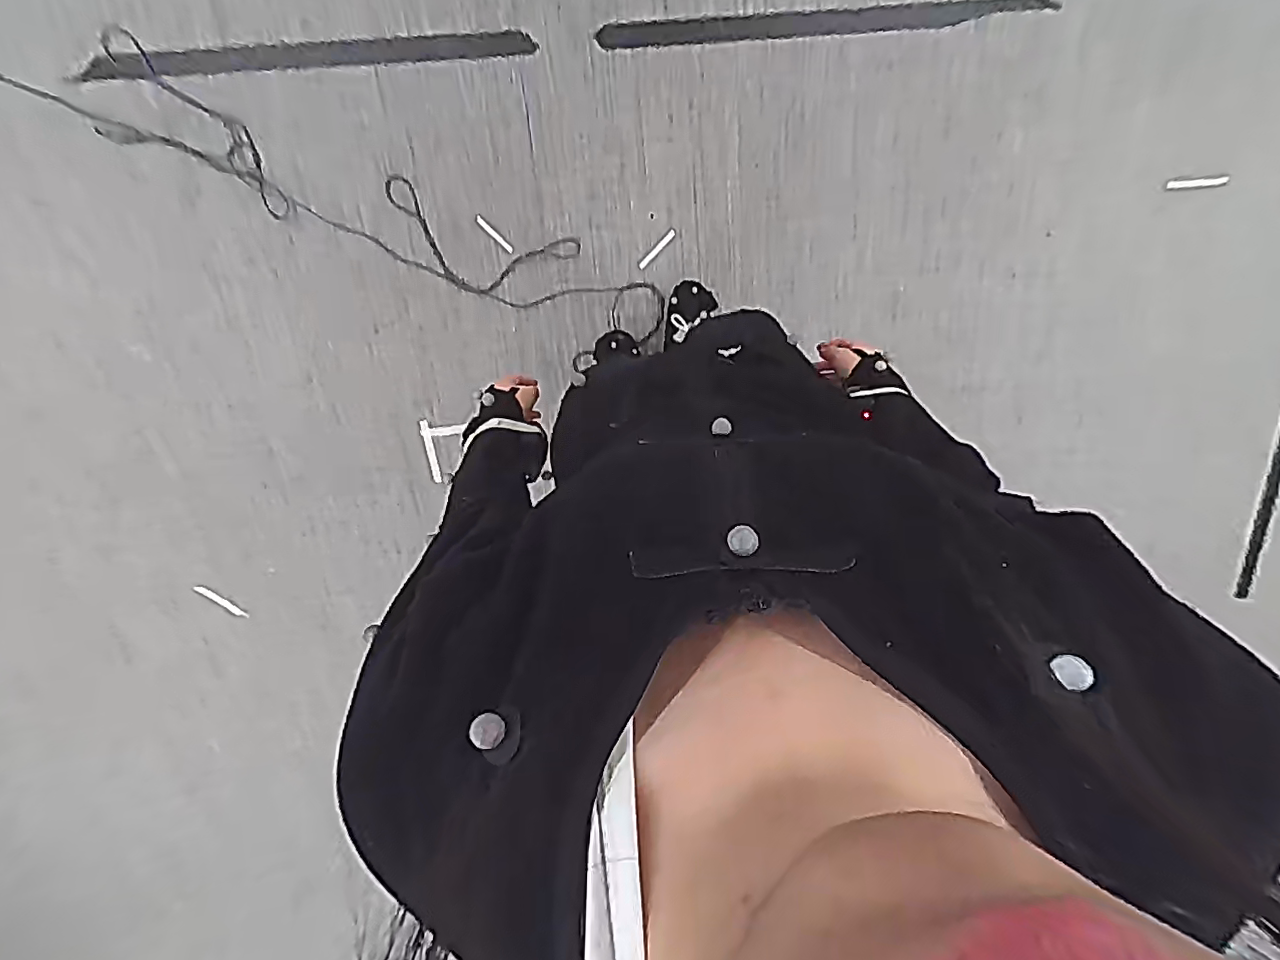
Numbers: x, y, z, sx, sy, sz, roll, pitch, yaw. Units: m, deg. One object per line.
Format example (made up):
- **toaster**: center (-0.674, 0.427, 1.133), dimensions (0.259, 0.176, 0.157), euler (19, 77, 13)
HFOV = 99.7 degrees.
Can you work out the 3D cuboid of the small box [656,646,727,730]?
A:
- **small box**: center (0.151, 0.604, 1.613), dimensions (0.168, 0.176, 0.179), euler (-14, 107, 1)
